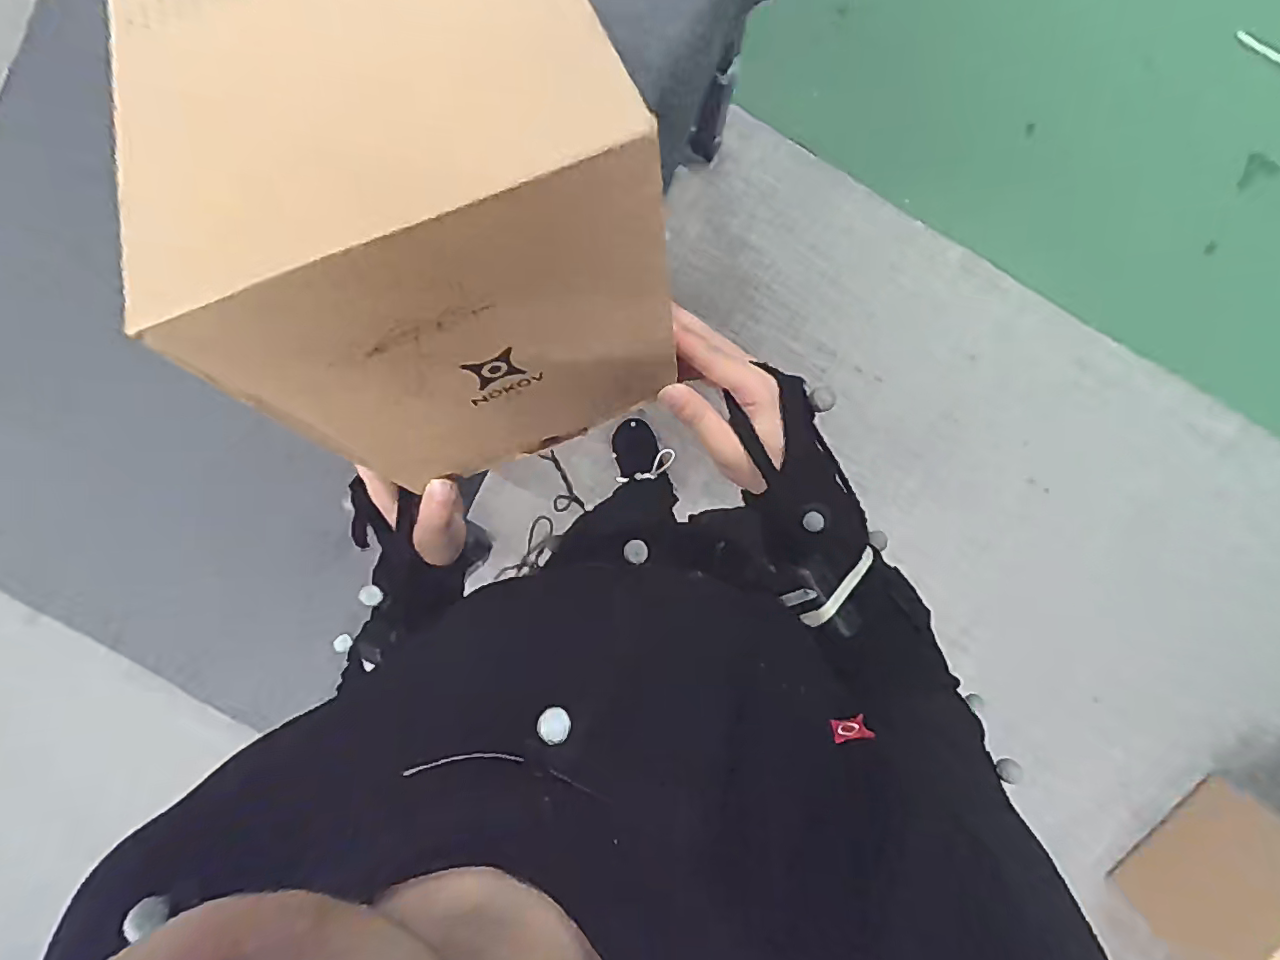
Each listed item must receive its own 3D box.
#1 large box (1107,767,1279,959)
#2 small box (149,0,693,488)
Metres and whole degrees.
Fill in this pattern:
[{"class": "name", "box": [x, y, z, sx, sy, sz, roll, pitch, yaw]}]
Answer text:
[{"class": "large box", "box": [1.470, 0.997, 1.280, 0.320, 0.320, 0.408, 35, 99, -2]}, {"class": "small box", "box": [-0.081, -0.121, 0.263, 0.168, 0.179, 0.176, -22, 71, -1]}]
